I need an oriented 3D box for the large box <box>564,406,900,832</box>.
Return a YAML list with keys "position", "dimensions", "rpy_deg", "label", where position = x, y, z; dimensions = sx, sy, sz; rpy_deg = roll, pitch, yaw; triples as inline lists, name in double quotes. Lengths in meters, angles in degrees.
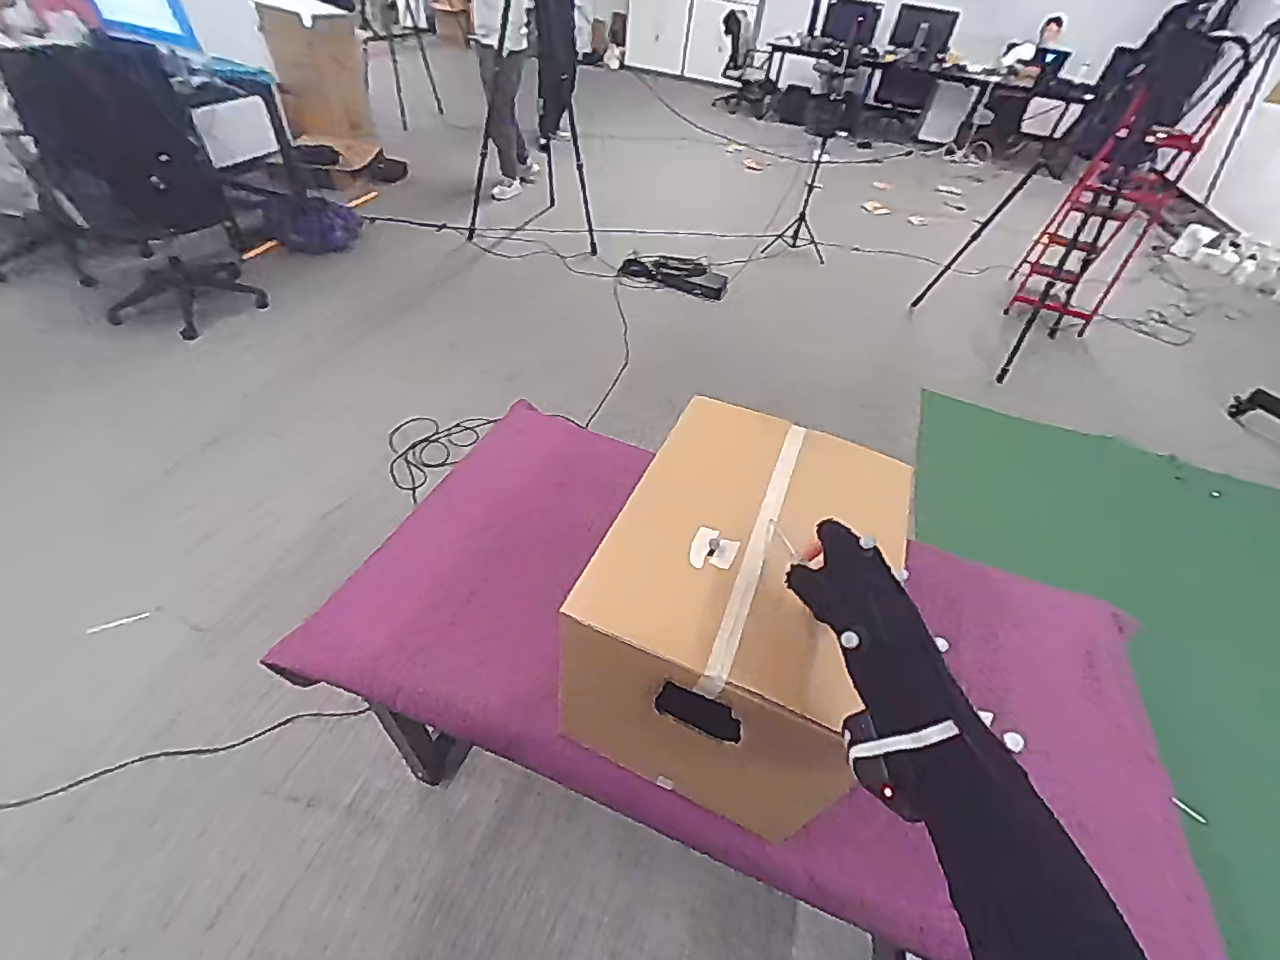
- position: [0.124, 0.170, 0.740]
  dimensions: [0.320, 0.320, 0.408]
  rpy_deg: [21, 46, 12]
  label: "large box"
